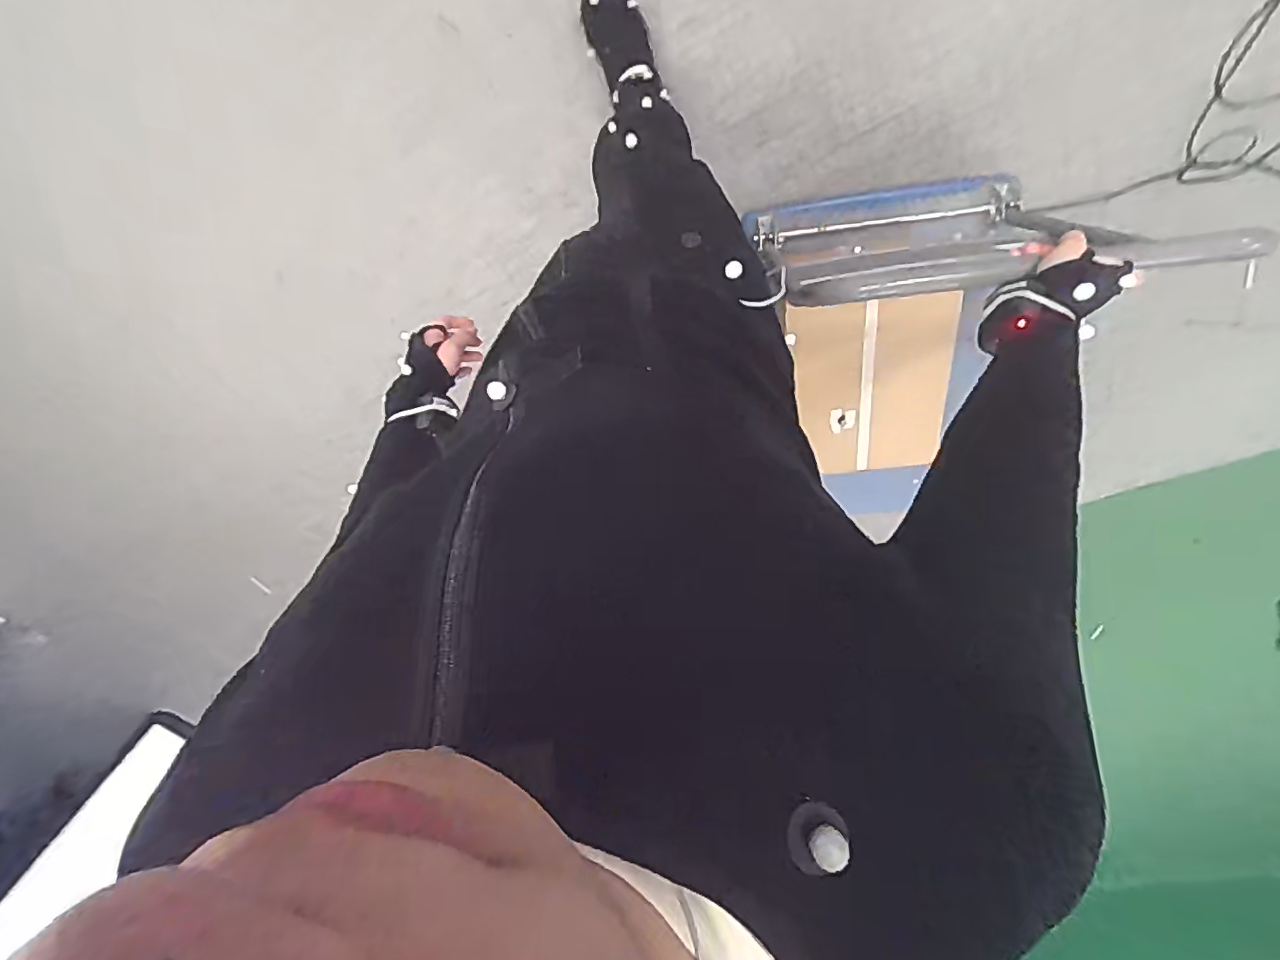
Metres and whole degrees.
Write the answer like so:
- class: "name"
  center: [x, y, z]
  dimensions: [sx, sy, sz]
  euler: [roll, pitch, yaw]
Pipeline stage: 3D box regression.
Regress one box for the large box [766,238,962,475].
- class: "large box"
  center: [0.463, -0.273, 1.203]
  dimensions: [0.320, 0.320, 0.408]
  euler: [-5, 125, 9]
